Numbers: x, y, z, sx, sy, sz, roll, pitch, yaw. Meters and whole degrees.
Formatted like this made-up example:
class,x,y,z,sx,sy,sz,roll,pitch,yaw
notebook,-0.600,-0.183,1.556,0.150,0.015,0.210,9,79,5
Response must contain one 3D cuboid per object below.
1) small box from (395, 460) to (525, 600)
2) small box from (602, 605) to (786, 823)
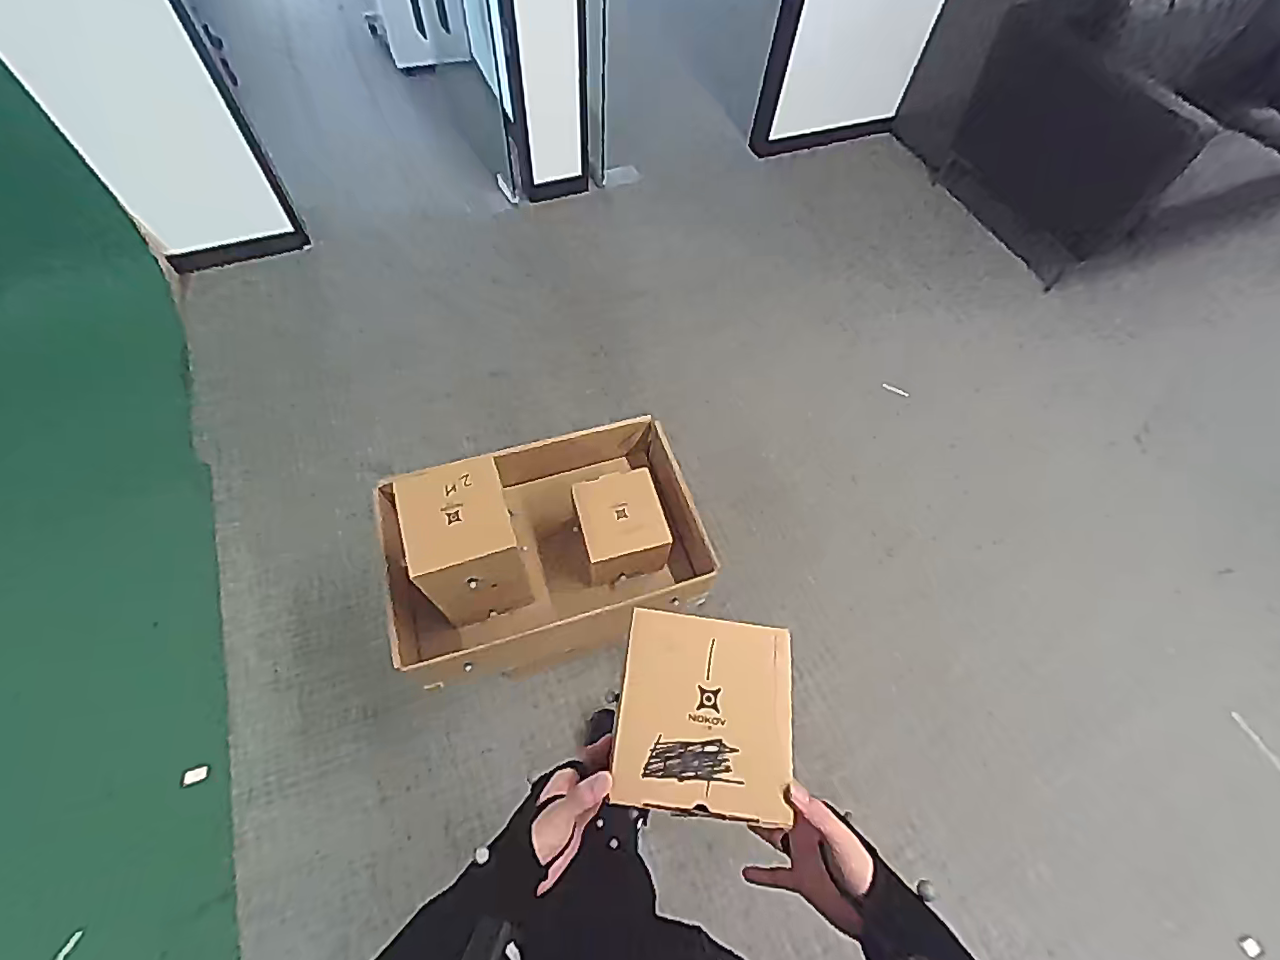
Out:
class,x,y,z,sx,sy,sz,roll,pitch,yaw
small box,-0.303,0.095,0.935,0.168,0.176,0.179,-15,64,-13
small box,0.053,0.255,0.586,0.168,0.176,0.179,8,60,0
